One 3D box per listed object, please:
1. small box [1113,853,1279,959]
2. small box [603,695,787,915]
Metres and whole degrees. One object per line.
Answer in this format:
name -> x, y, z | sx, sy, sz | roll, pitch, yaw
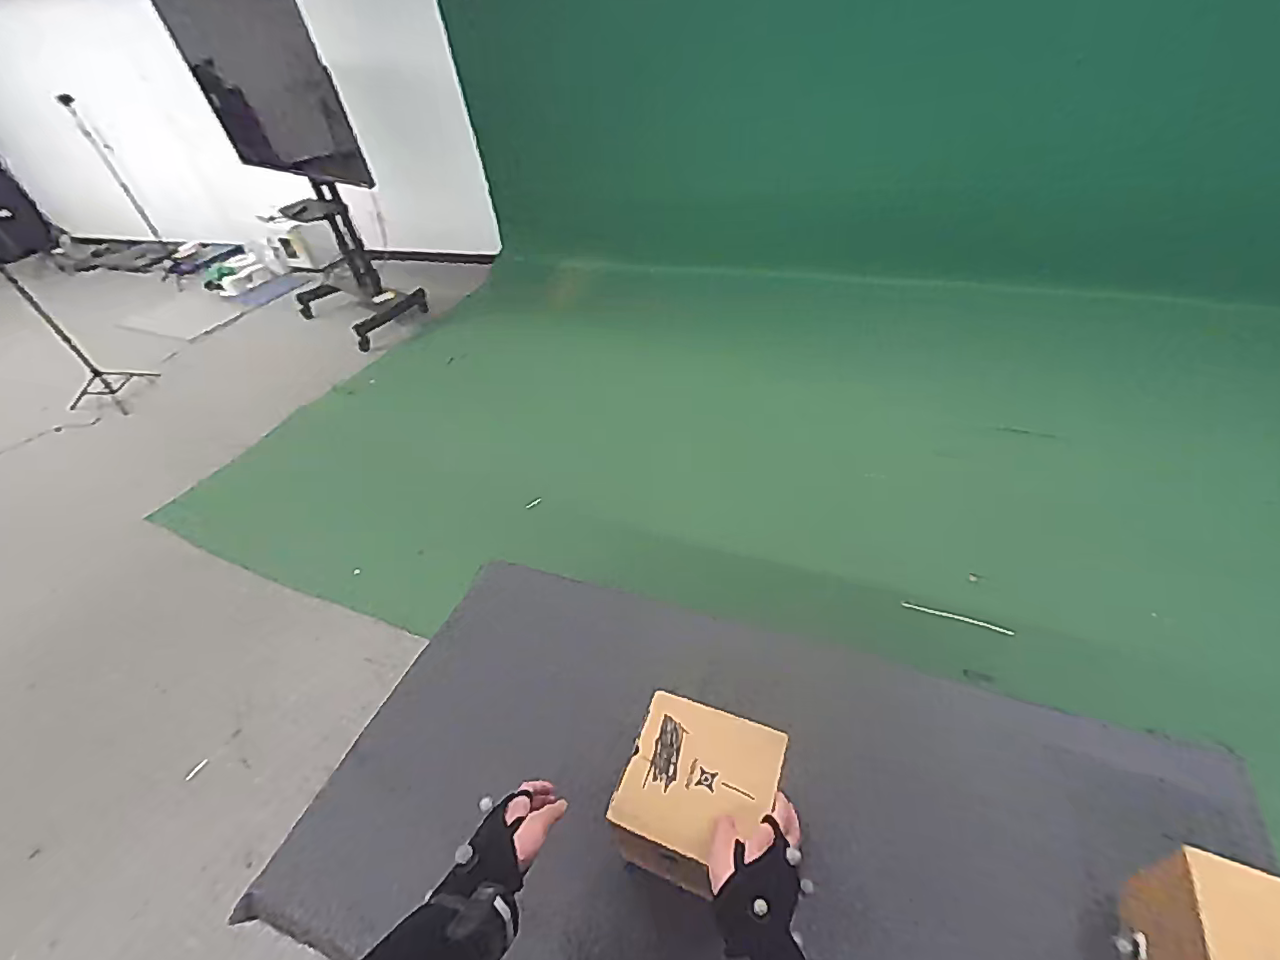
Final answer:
small box -> 0.588, 0.490, 0.496 | 0.179, 0.176, 0.168 | 11, 44, 23
small box -> 0.076, 0.408, 0.680 | 0.179, 0.176, 0.168 | 12, 46, 20
